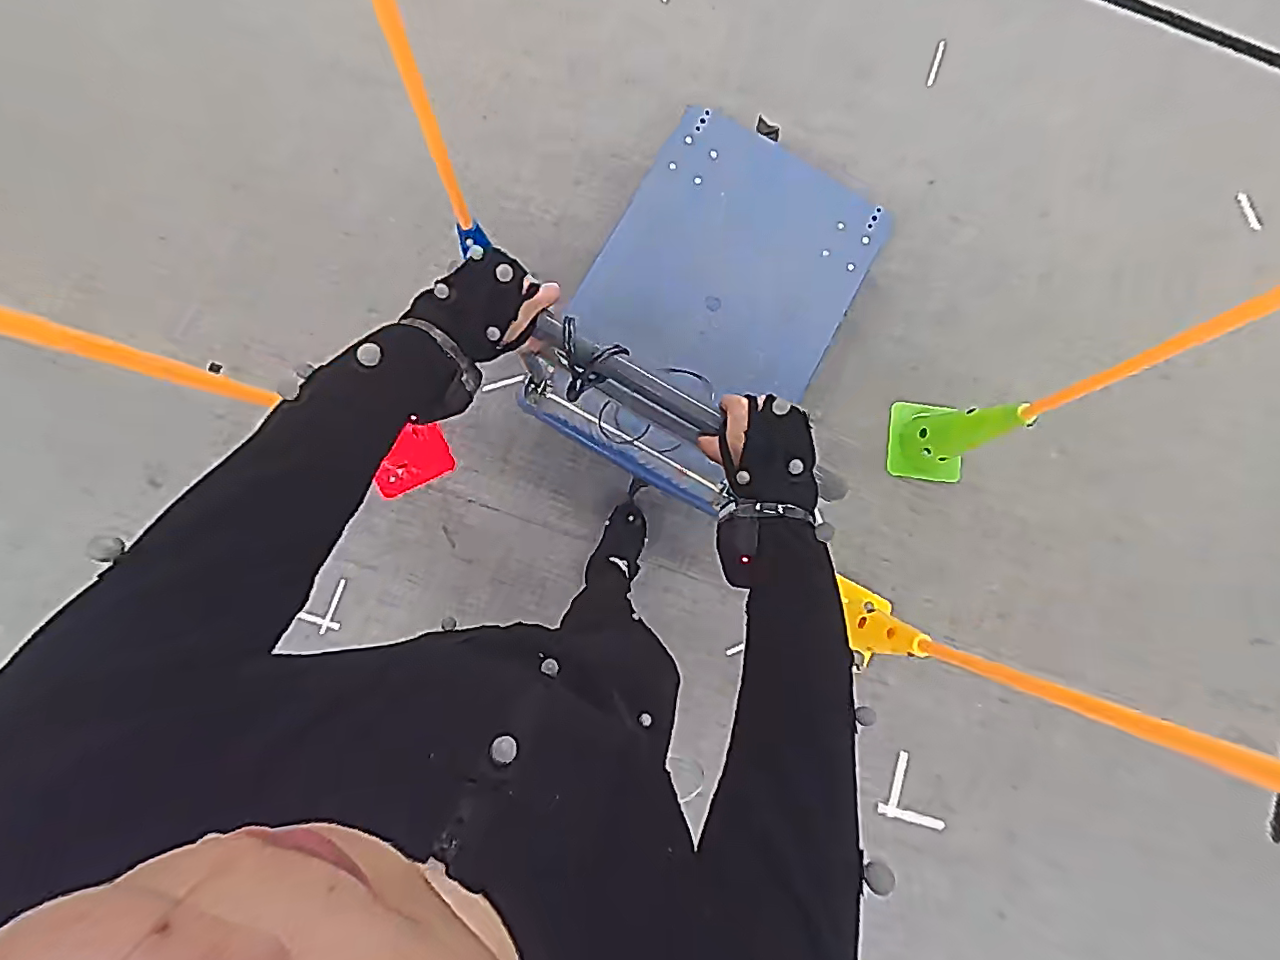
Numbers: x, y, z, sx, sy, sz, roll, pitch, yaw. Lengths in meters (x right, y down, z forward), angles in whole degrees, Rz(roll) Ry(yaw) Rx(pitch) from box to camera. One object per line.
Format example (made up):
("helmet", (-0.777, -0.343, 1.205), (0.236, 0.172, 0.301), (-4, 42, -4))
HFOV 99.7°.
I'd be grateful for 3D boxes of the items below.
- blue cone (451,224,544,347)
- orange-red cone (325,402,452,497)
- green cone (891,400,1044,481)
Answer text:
("blue cone", (-0.356, -0.475, 1.237), (0.193, 0.380, 0.192), (35, 84, 1))
("orange-red cone", (-0.574, -0.095, 1.168), (0.199, 0.360, 0.198), (-25, 87, -7))
("green cone", (0.771, -0.119, 1.251), (0.200, 0.368, 0.202), (6, 85, -3))
